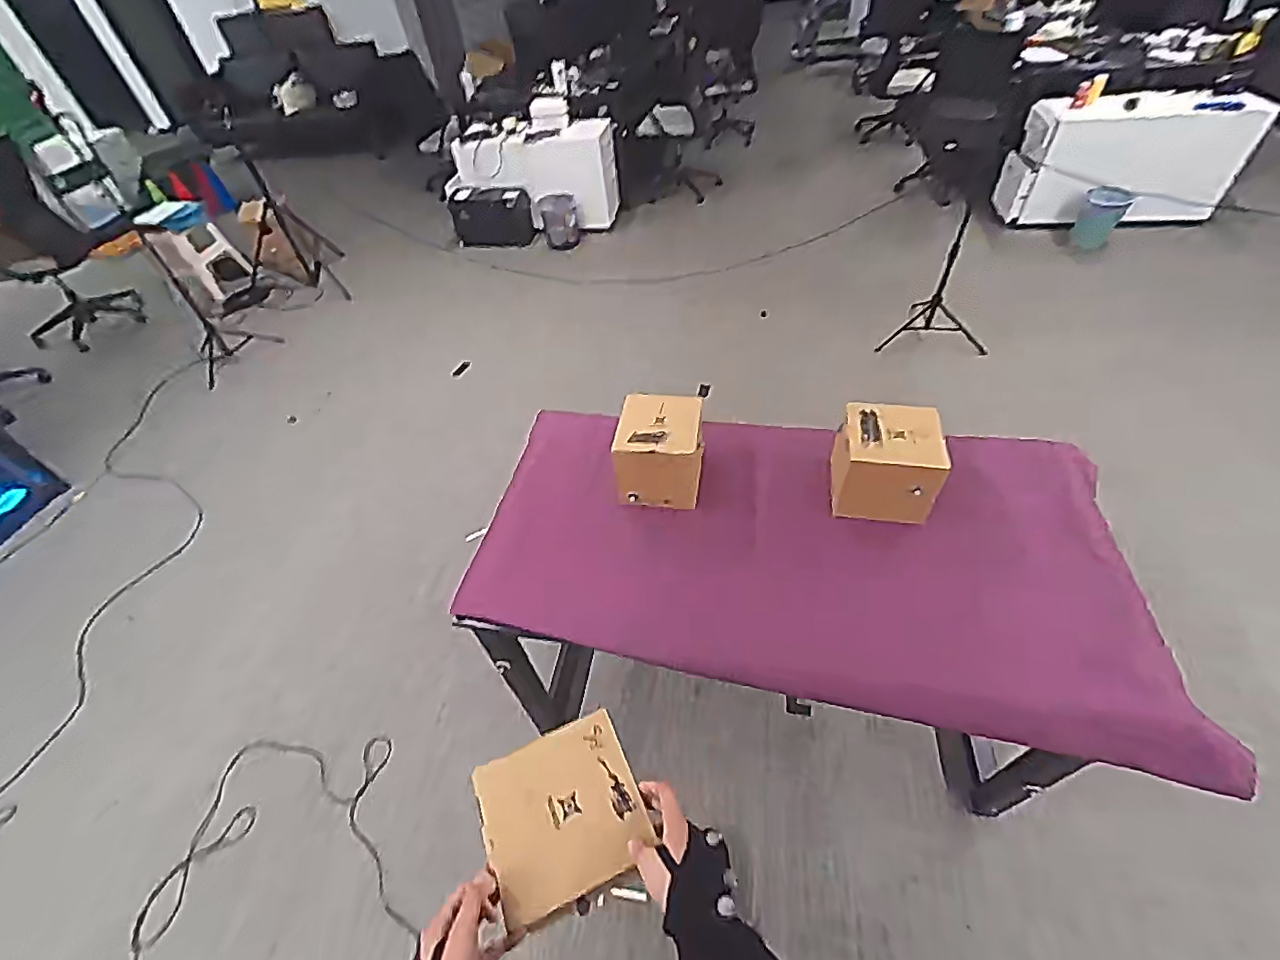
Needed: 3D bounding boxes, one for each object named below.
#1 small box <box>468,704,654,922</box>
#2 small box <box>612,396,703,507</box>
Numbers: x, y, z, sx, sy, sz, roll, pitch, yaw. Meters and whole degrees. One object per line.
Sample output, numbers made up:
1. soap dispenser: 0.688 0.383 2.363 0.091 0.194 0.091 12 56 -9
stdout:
1. small box: -0.091 0.418 0.676 0.179 0.176 0.168 -20 53 -14
2. small box: 0.045 -0.059 1.161 0.168 0.176 0.179 4 48 10
